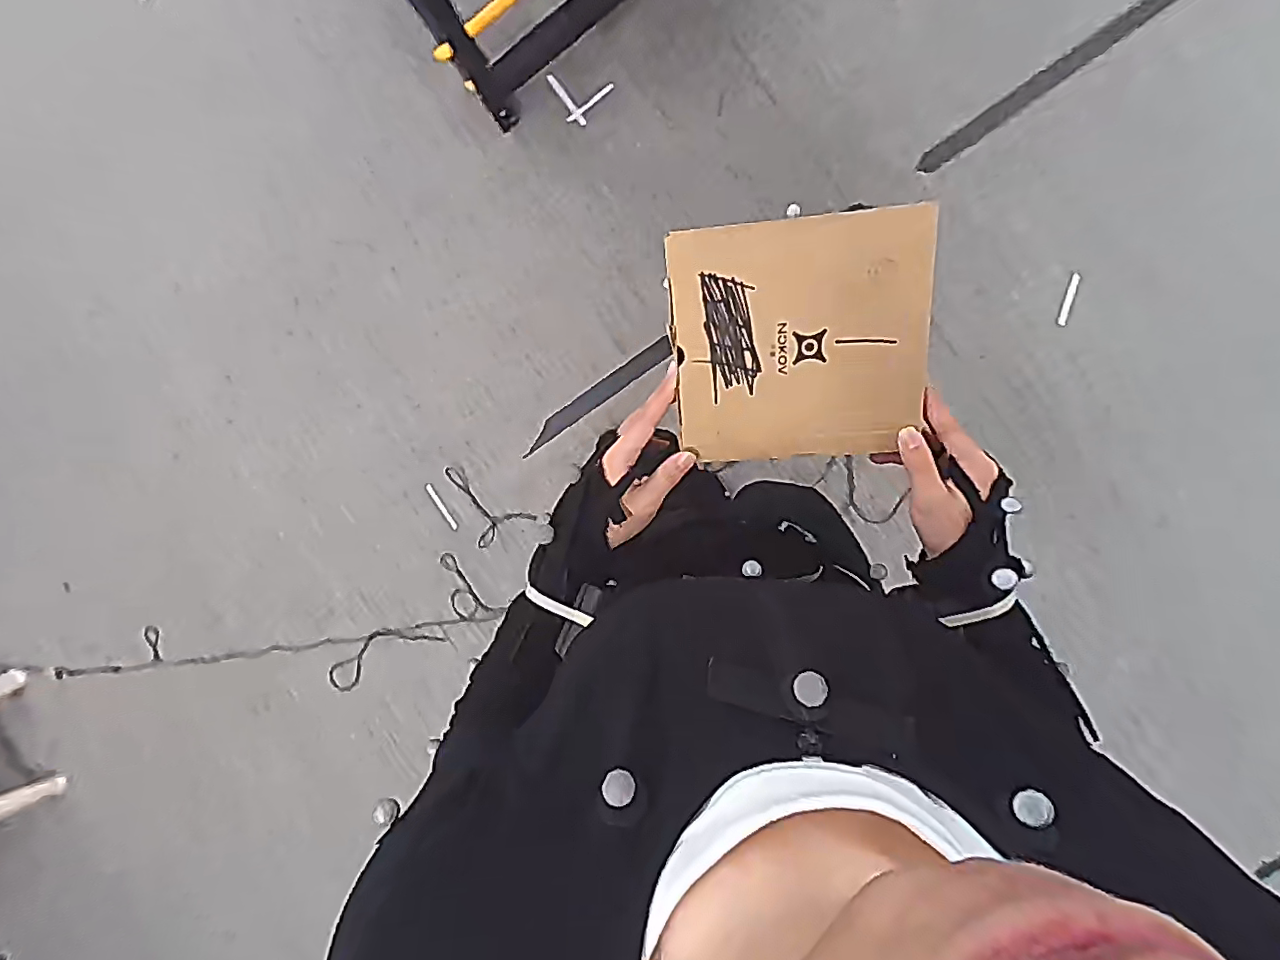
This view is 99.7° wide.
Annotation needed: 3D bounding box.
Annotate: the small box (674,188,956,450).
[{"bbox_3d":[0.125,-0.127,0.444,0.179,0.176,0.168,-2,110,8],"label":"small box"}]
